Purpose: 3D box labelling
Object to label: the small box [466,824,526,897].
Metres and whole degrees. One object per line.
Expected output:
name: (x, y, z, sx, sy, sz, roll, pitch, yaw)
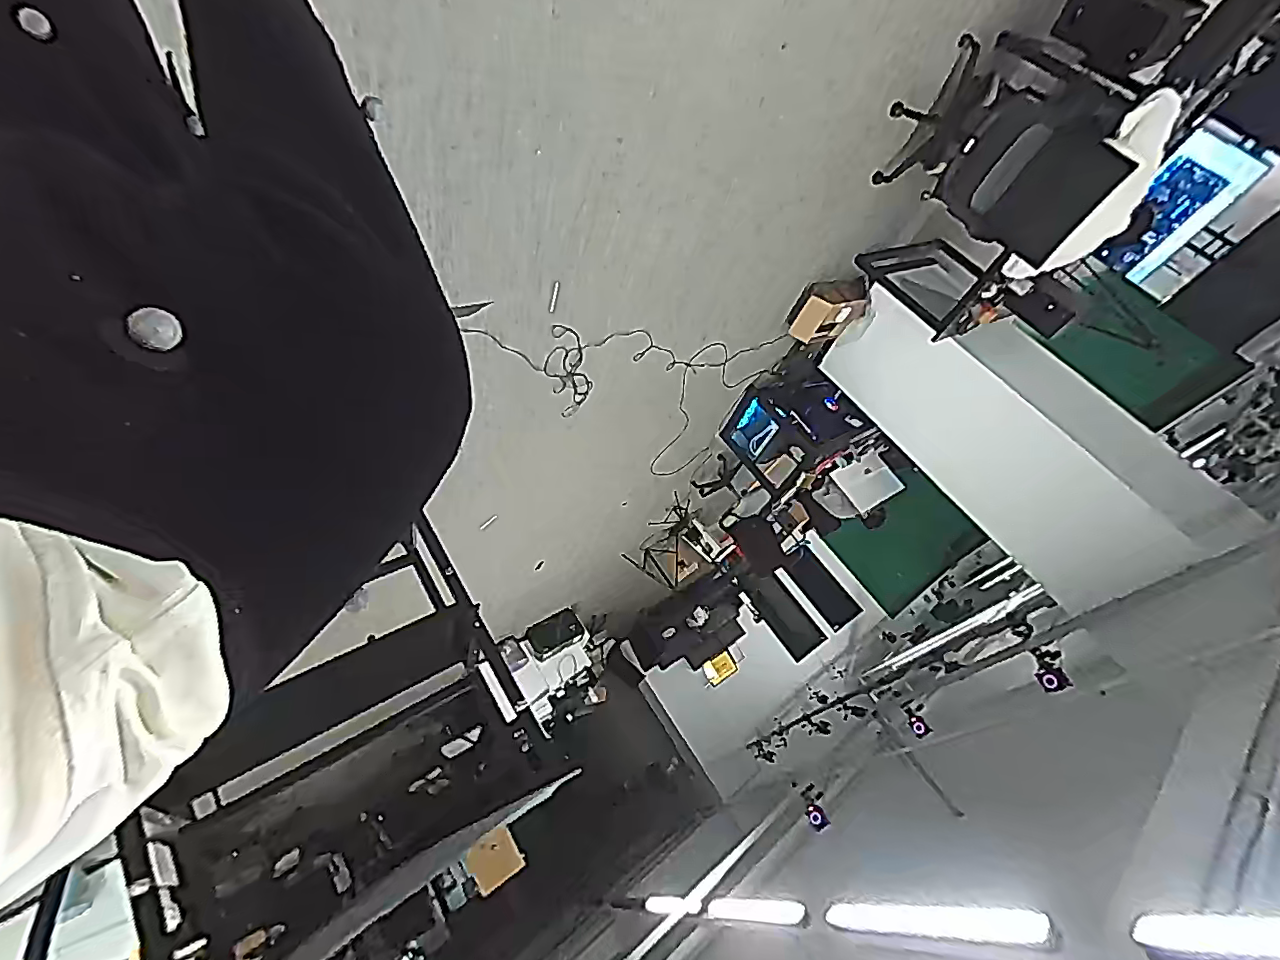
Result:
small box: (-0.555, 1.455, 2.070, 0.168, 0.176, 0.179, -24, 154, -31)
